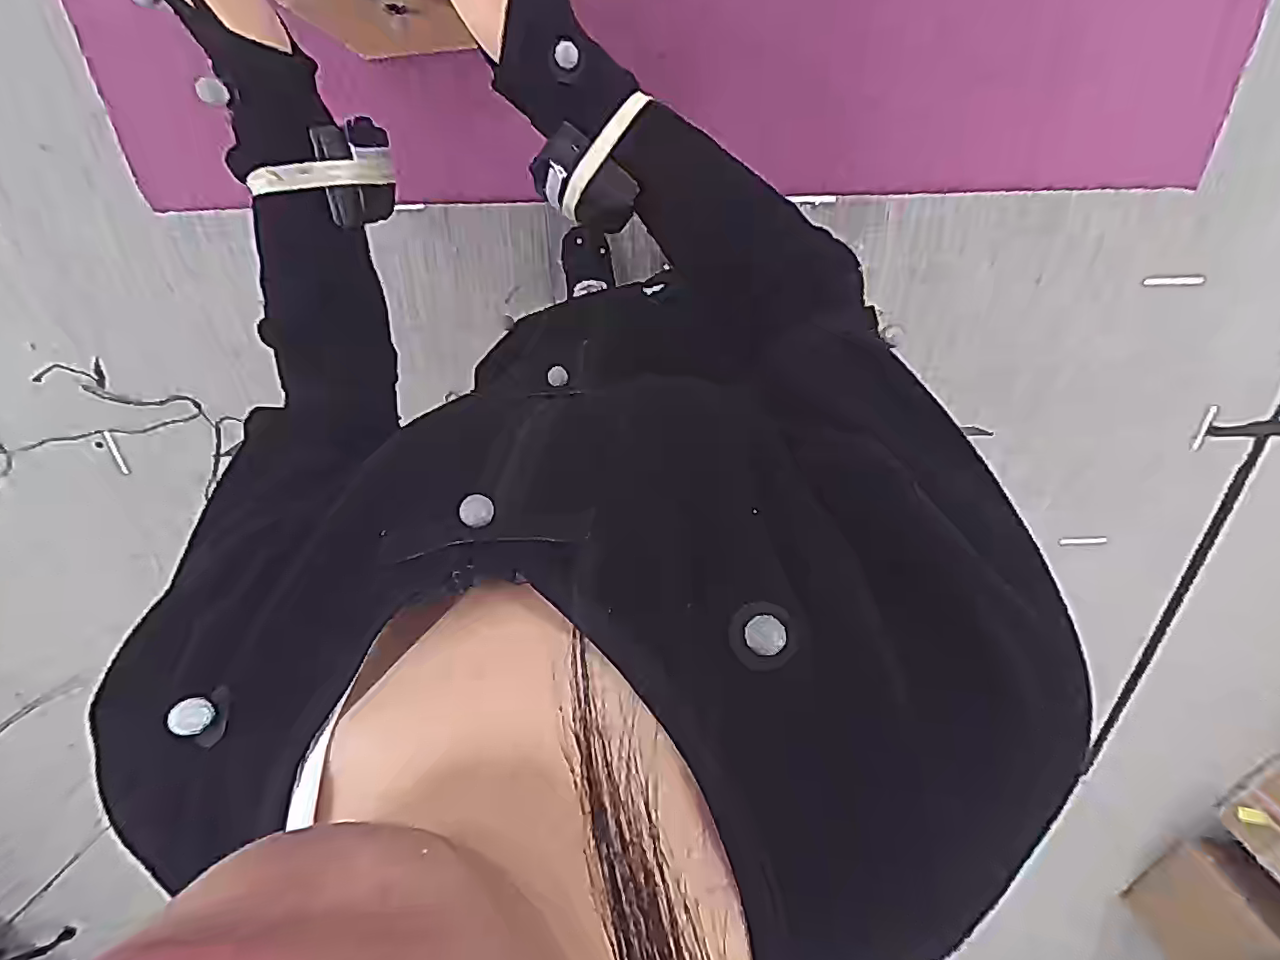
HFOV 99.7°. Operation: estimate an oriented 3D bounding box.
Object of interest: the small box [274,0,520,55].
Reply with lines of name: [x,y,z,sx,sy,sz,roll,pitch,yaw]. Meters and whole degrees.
small box: [-0.203,-0.480,0.450,0.179,0.176,0.168,-5,116,1]
